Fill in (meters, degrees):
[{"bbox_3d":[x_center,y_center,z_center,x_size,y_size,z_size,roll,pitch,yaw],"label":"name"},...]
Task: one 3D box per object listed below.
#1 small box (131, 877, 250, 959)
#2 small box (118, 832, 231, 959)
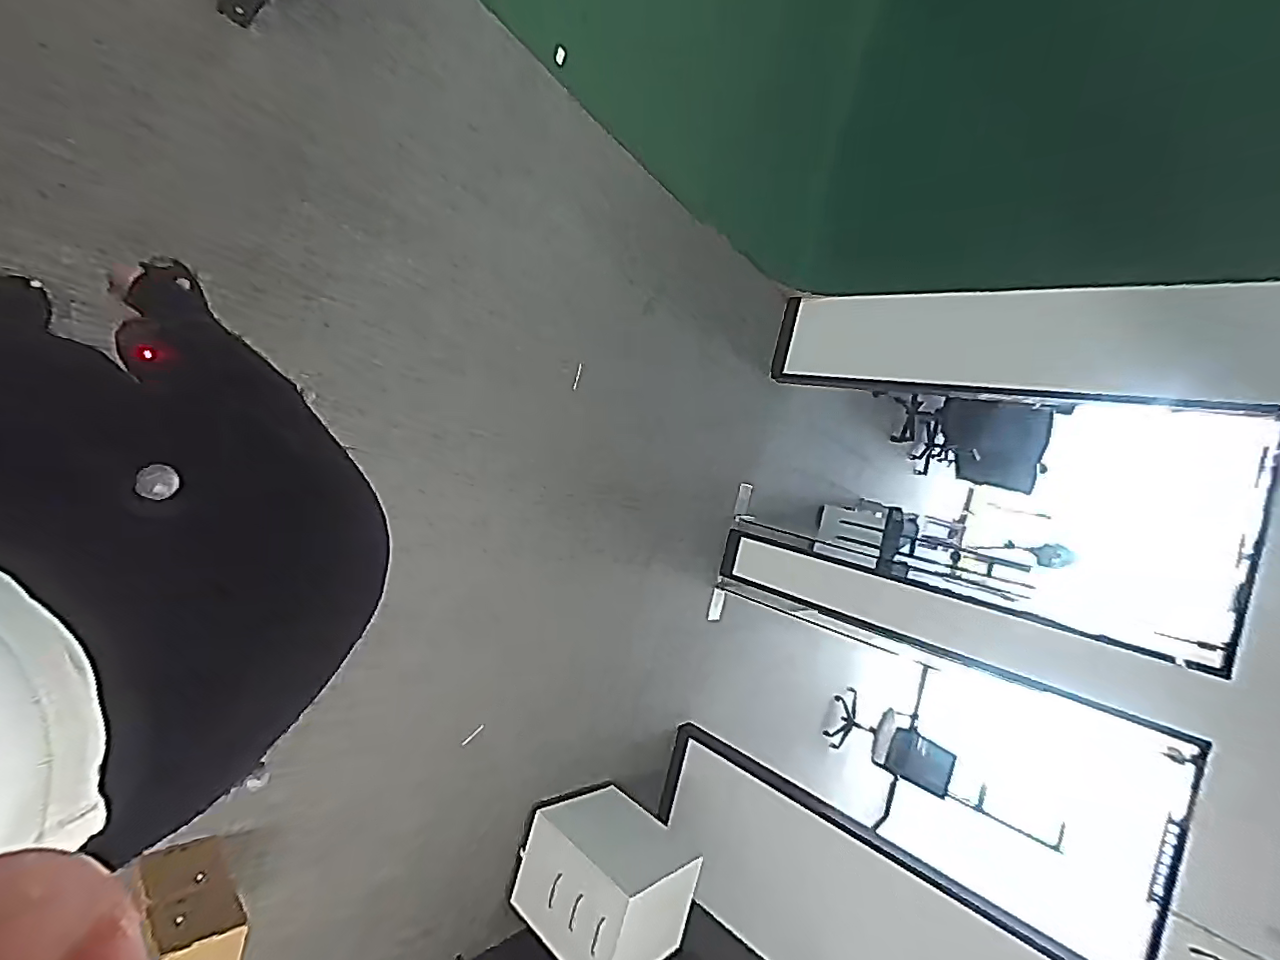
[{"bbox_3d":[-1.032,1.057,1.236,0.168,0.176,0.179,13,92,-51],"label":"small box"},{"bbox_3d":[-1.154,1.025,1.337,0.168,0.176,0.179,17,88,-51],"label":"small box"}]
